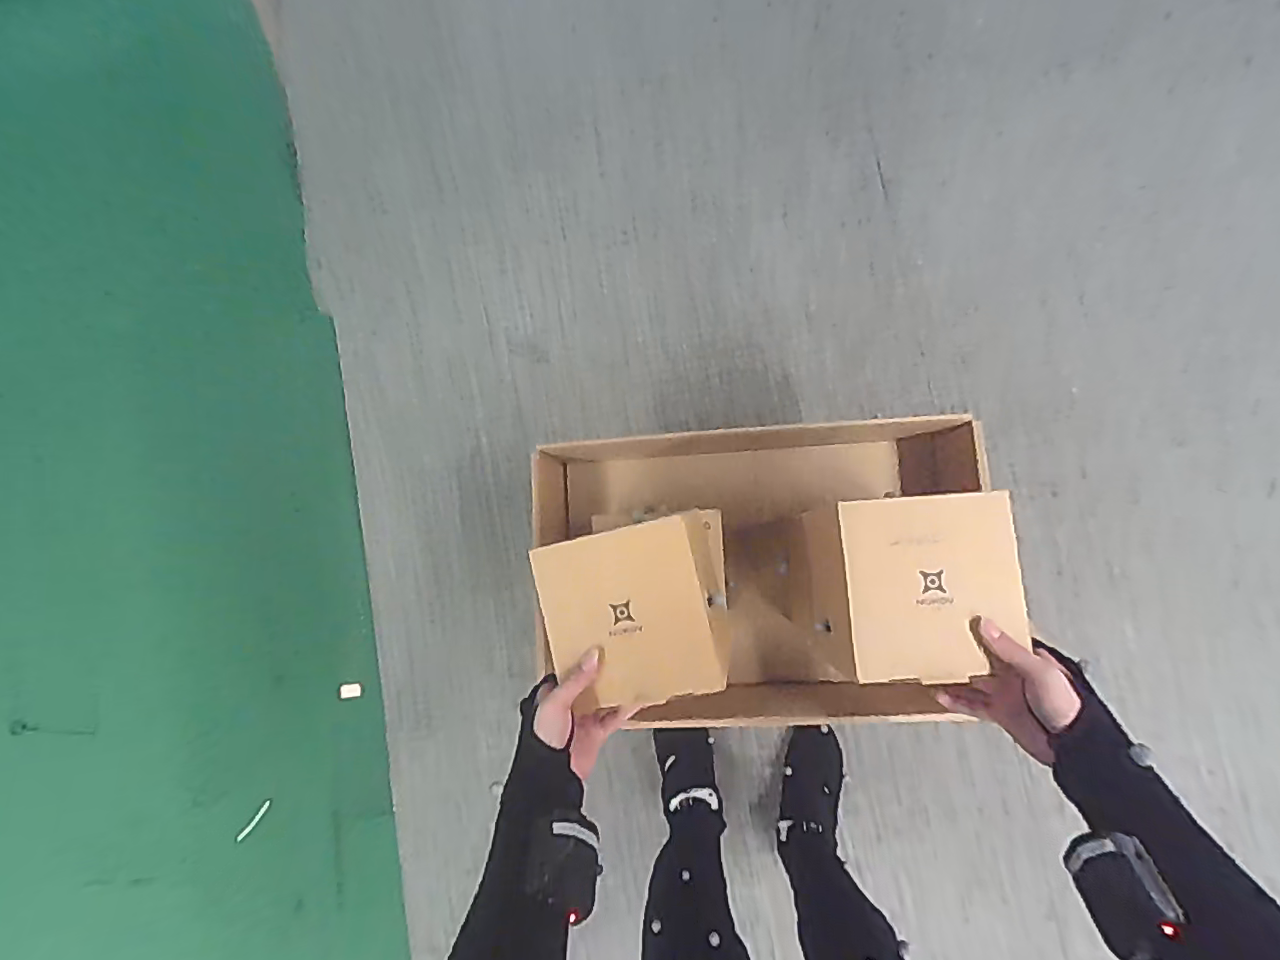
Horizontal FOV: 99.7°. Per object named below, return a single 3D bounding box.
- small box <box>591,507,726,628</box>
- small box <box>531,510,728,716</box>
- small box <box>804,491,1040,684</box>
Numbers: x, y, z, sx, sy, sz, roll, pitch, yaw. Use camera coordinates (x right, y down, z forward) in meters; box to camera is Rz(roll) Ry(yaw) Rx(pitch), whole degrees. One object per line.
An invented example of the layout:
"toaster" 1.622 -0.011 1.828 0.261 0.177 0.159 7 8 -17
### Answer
"small box" 0.033 0.128 0.781 0.179 0.176 0.168 -3 84 7
"small box" -0.001 0.133 0.603 0.168 0.176 0.179 -14 87 10
"small box" 0.283 0.109 0.583 0.168 0.176 0.179 -3 82 3
